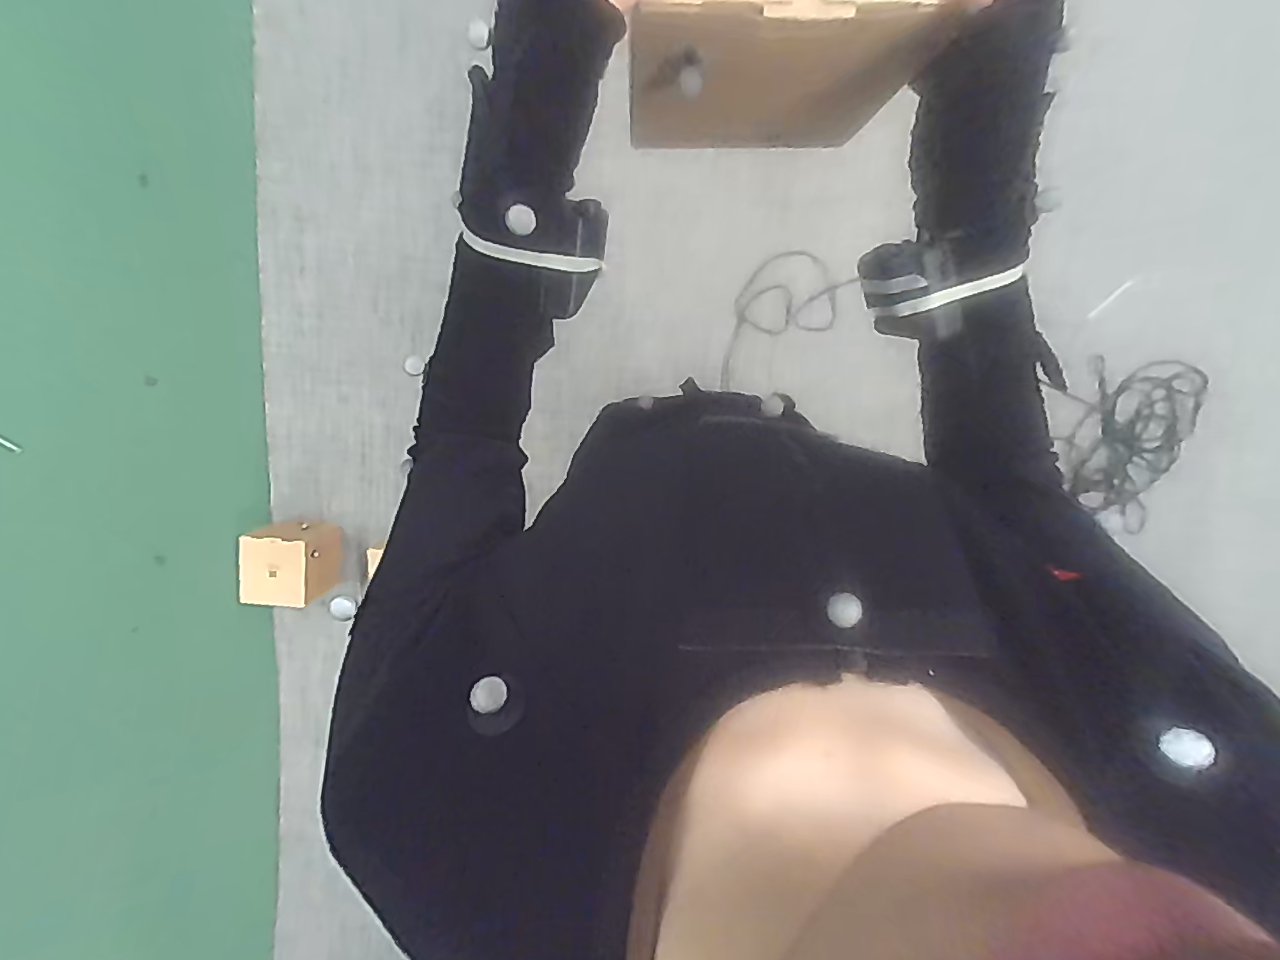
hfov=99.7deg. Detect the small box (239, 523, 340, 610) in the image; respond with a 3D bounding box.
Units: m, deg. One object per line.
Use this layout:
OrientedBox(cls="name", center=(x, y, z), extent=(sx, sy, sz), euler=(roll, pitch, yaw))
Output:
OrientedBox(cls="small box", center=(-0.913, 0.221, 1.420), extent=(0.168, 0.176, 0.179), euler=(5, 98, -2))
